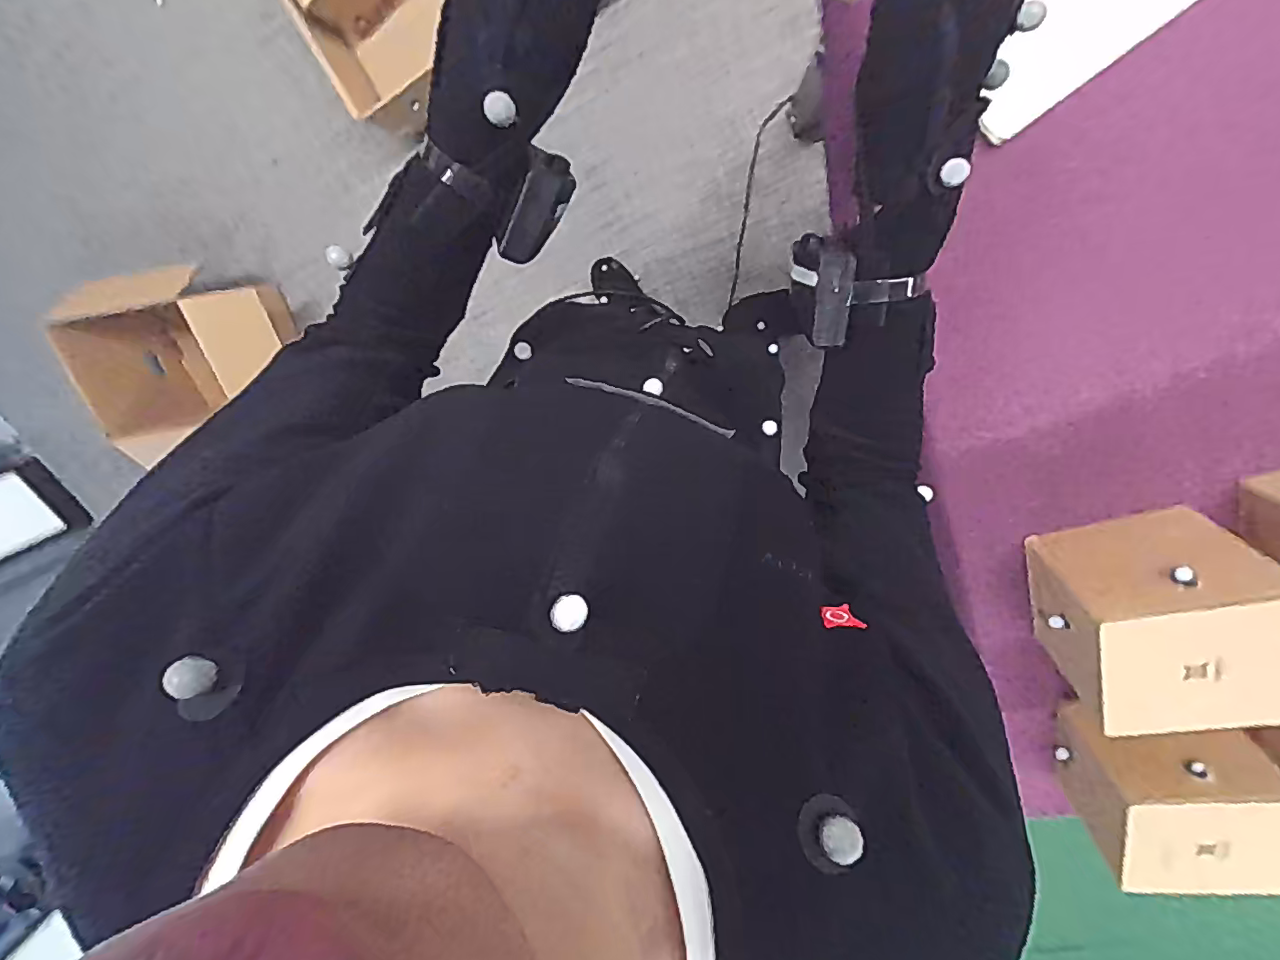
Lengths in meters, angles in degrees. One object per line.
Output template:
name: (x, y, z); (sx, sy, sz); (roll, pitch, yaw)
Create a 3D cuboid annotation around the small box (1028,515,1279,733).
small box: (0.582, 0.161, 0.629); (0.179, 0.176, 0.168); (-14, 112, 16)

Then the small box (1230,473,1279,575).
small box: (0.778, 0.084, 0.555); (0.179, 0.176, 0.168); (-16, 112, 17)
